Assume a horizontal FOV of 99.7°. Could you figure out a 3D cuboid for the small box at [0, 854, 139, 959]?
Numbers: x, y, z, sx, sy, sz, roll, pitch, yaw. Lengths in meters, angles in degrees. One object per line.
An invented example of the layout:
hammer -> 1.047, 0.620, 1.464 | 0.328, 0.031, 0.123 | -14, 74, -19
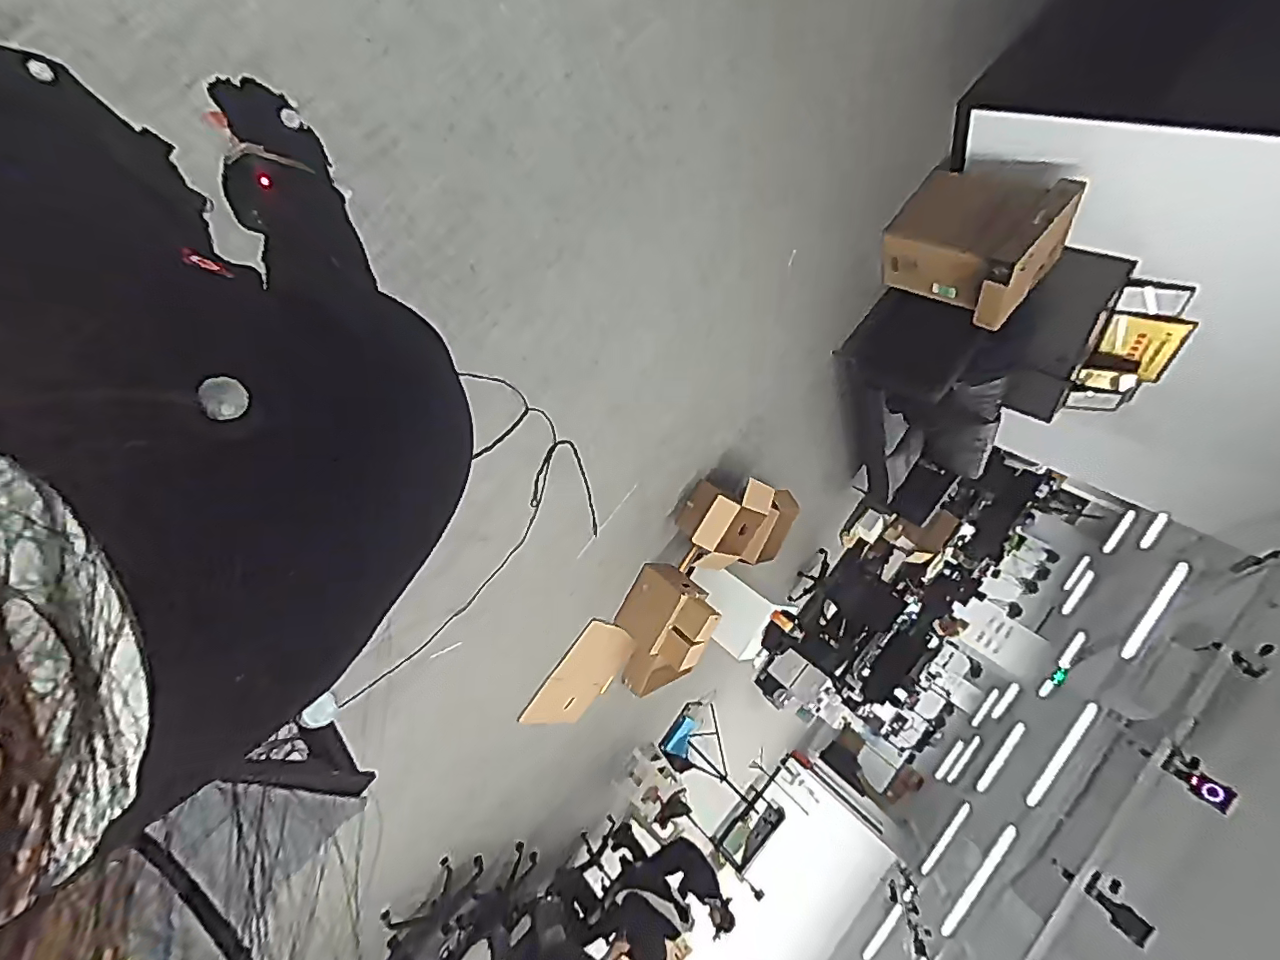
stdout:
small box -> -0.858, 0.667, 0.749 | 0.179, 0.176, 0.168 | -50, 146, -8
